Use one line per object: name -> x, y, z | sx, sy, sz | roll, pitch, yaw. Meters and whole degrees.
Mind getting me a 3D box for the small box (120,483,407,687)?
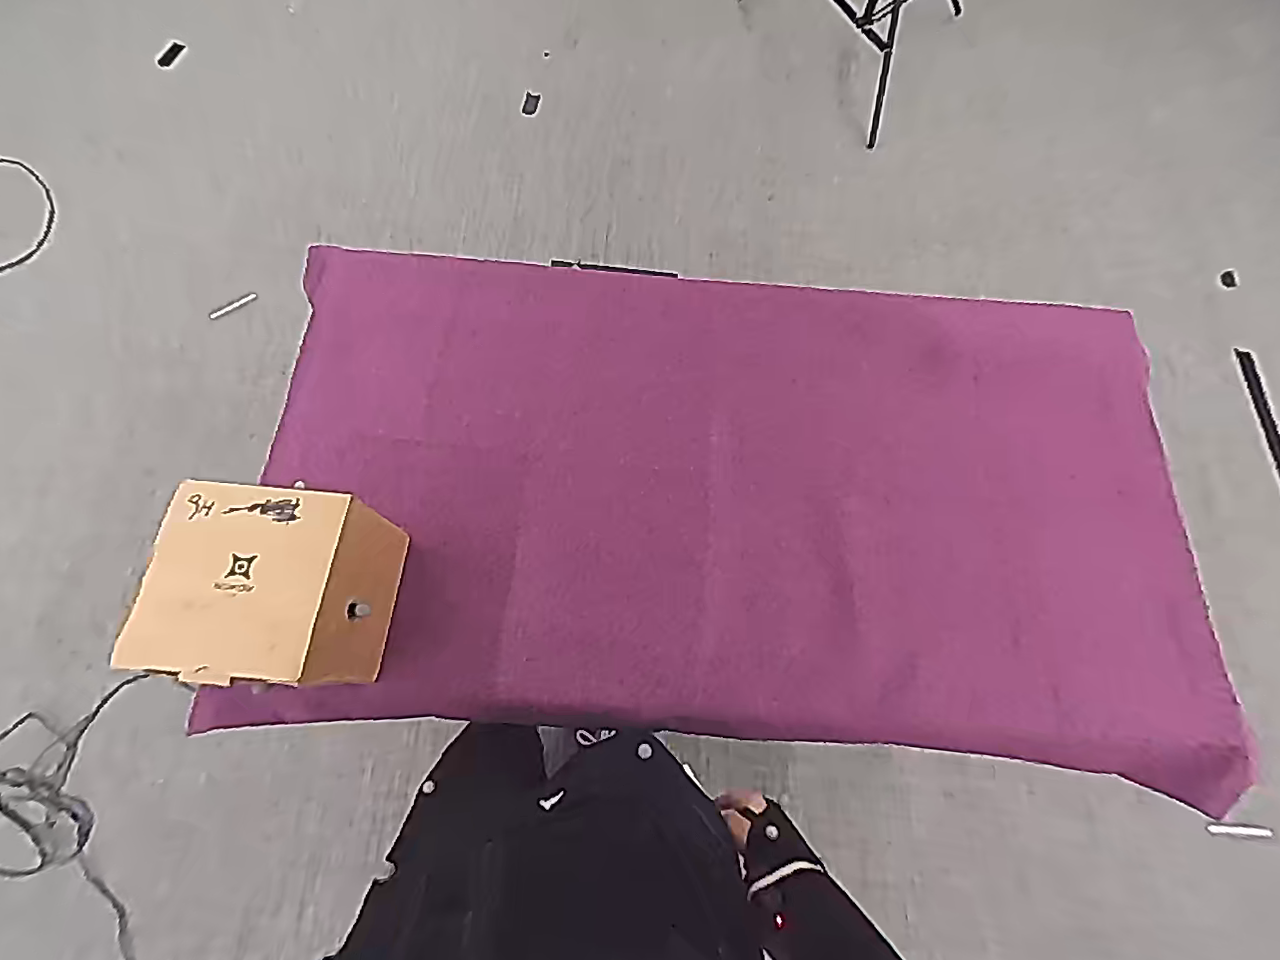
small box -> -0.369, 0.117, 0.573 | 0.168, 0.176, 0.179 | 5, 71, -2
